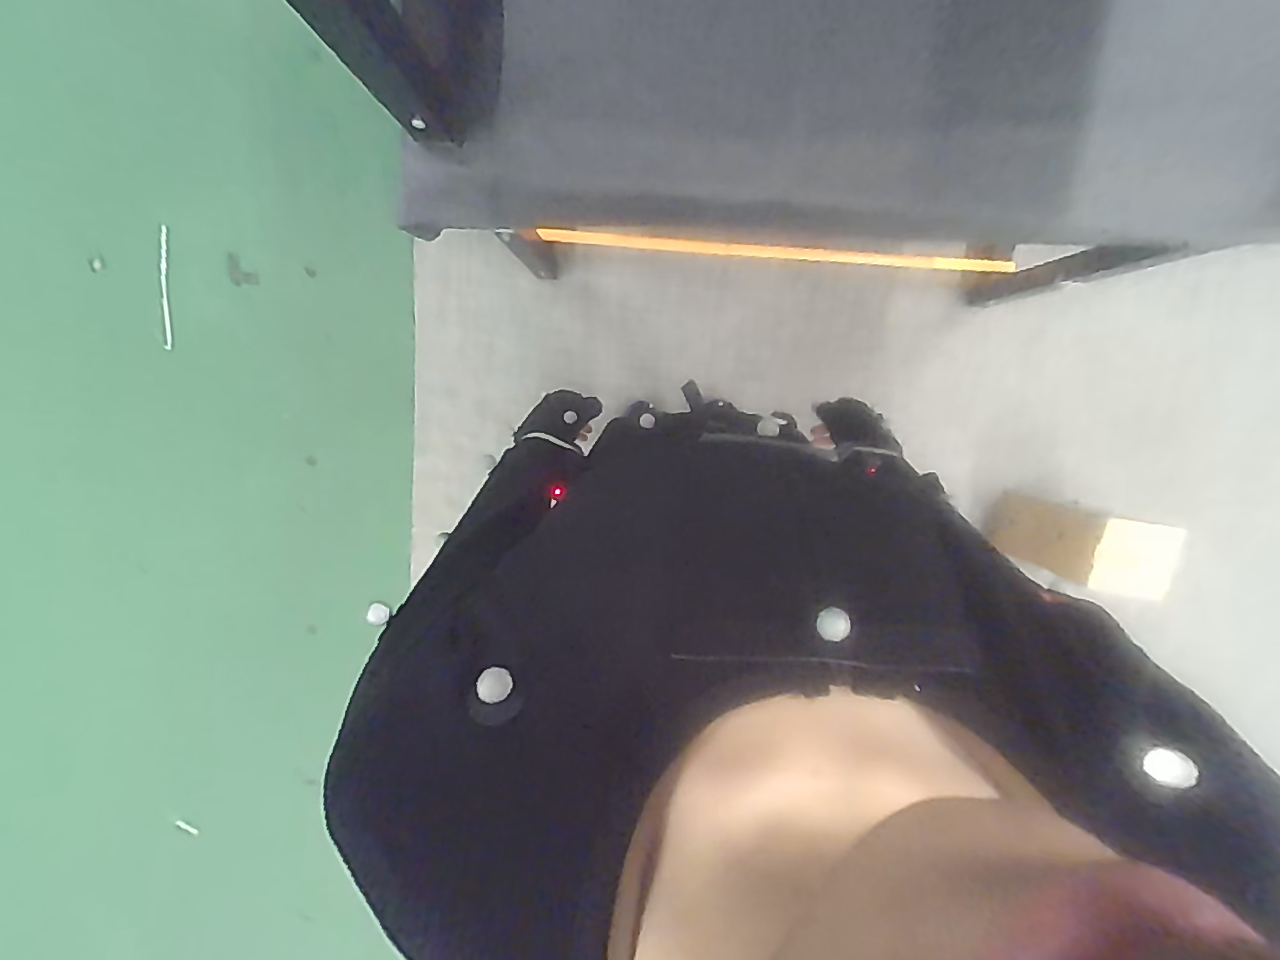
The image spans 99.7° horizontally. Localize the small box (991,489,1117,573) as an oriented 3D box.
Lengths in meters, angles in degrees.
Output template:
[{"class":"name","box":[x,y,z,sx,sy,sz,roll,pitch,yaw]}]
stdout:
[{"class":"small box","box":[1.070,0.127,1.411,0.179,0.176,0.168,10,99,0]}]
